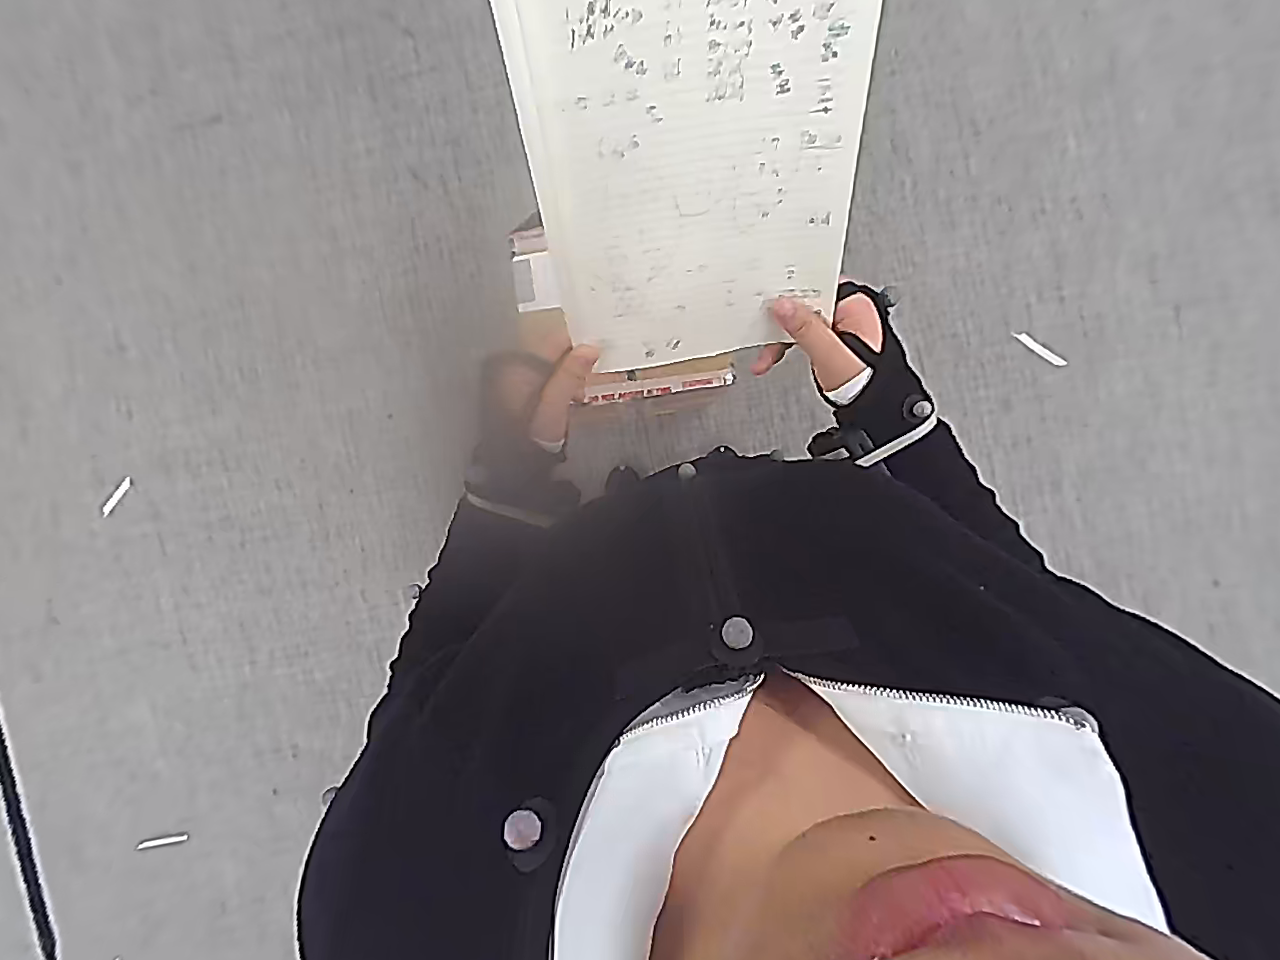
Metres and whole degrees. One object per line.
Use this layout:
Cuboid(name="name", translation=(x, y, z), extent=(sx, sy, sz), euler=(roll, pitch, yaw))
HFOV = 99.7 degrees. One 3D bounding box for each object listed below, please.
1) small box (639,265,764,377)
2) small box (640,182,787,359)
Cuboid(name="small box", translation=(0.098, -0.286, 0.940), extent=(0.179, 0.176, 0.168), euler=(-13, 92, 1))
Cuboid(name="small box", translation=(0.095, -0.287, 0.776), extent=(0.168, 0.176, 0.179), euler=(-11, 92, 0))
